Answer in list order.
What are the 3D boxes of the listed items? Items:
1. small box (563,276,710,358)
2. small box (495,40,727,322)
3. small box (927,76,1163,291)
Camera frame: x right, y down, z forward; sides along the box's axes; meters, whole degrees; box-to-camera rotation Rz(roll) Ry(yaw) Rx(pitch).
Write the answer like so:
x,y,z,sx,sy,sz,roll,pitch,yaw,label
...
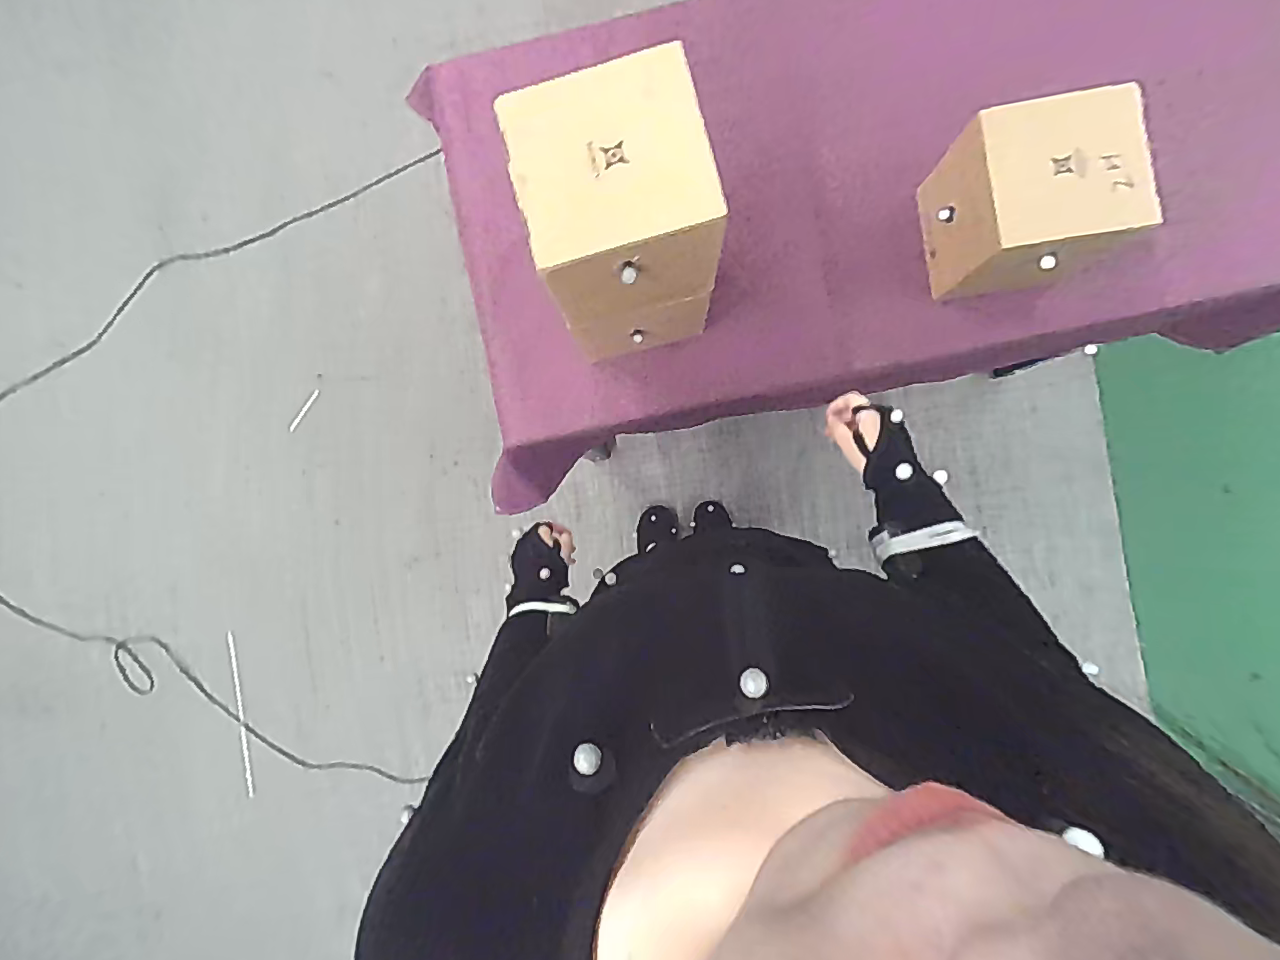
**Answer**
x,y,z,sx,sy,sz,roll,pitch,yaw,label
-0.014,-0.277,0.716,0.179,0.176,0.168,-14,87,5,small box
-0.022,-0.283,0.554,0.179,0.176,0.168,-15,87,5,small box
0.485,-0.354,0.681,0.179,0.176,0.168,-7,89,4,small box
